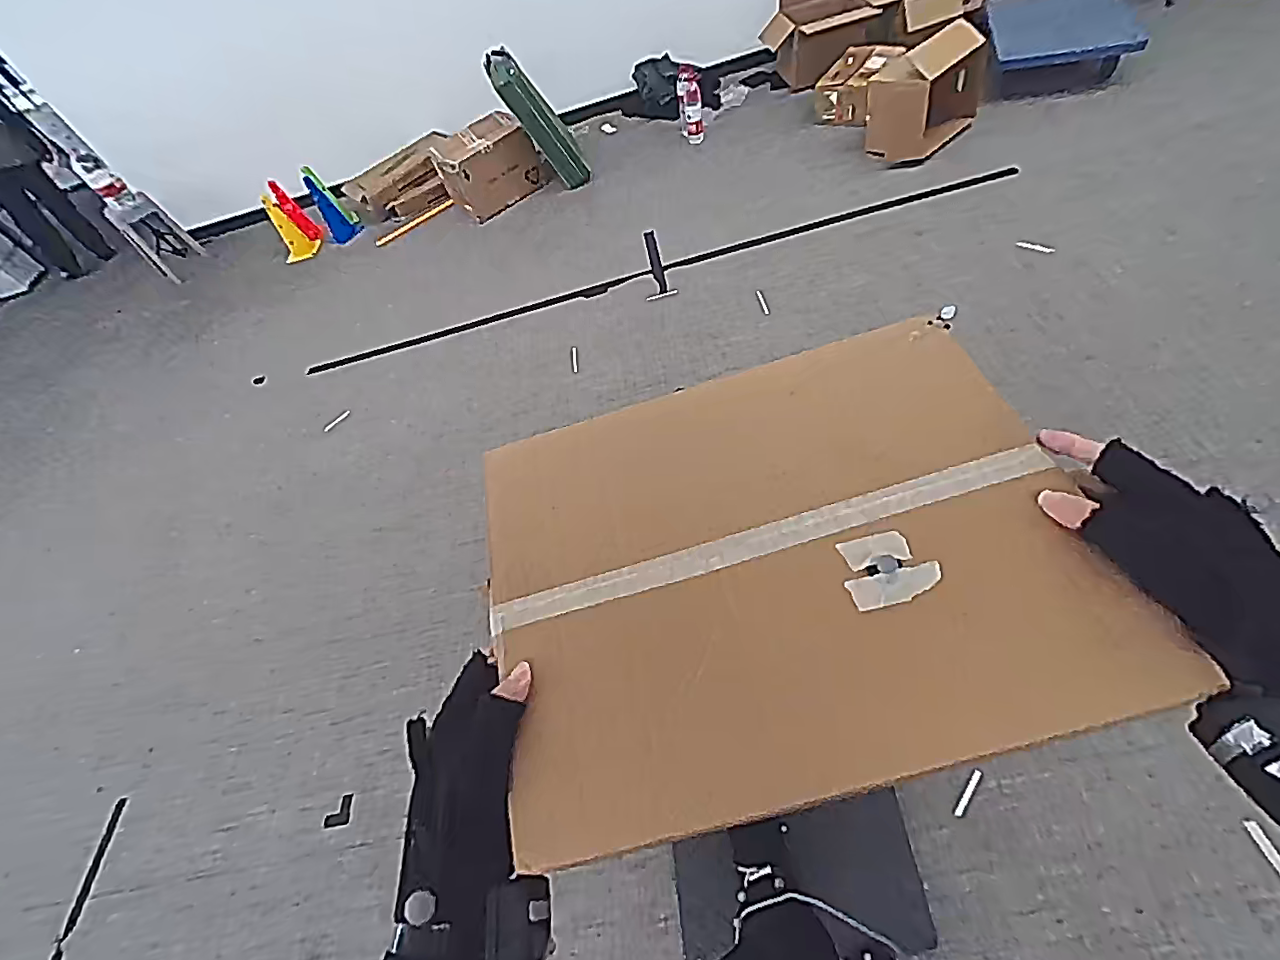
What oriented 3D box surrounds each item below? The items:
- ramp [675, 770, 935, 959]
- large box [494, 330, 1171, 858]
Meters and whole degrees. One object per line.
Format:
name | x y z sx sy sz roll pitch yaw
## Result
ramp | 0.278 0.490 1.288 0.509 0.206 0.991 -13 54 6
large box | 0.117 0.125 0.526 0.408 0.320 0.320 -17 57 3
